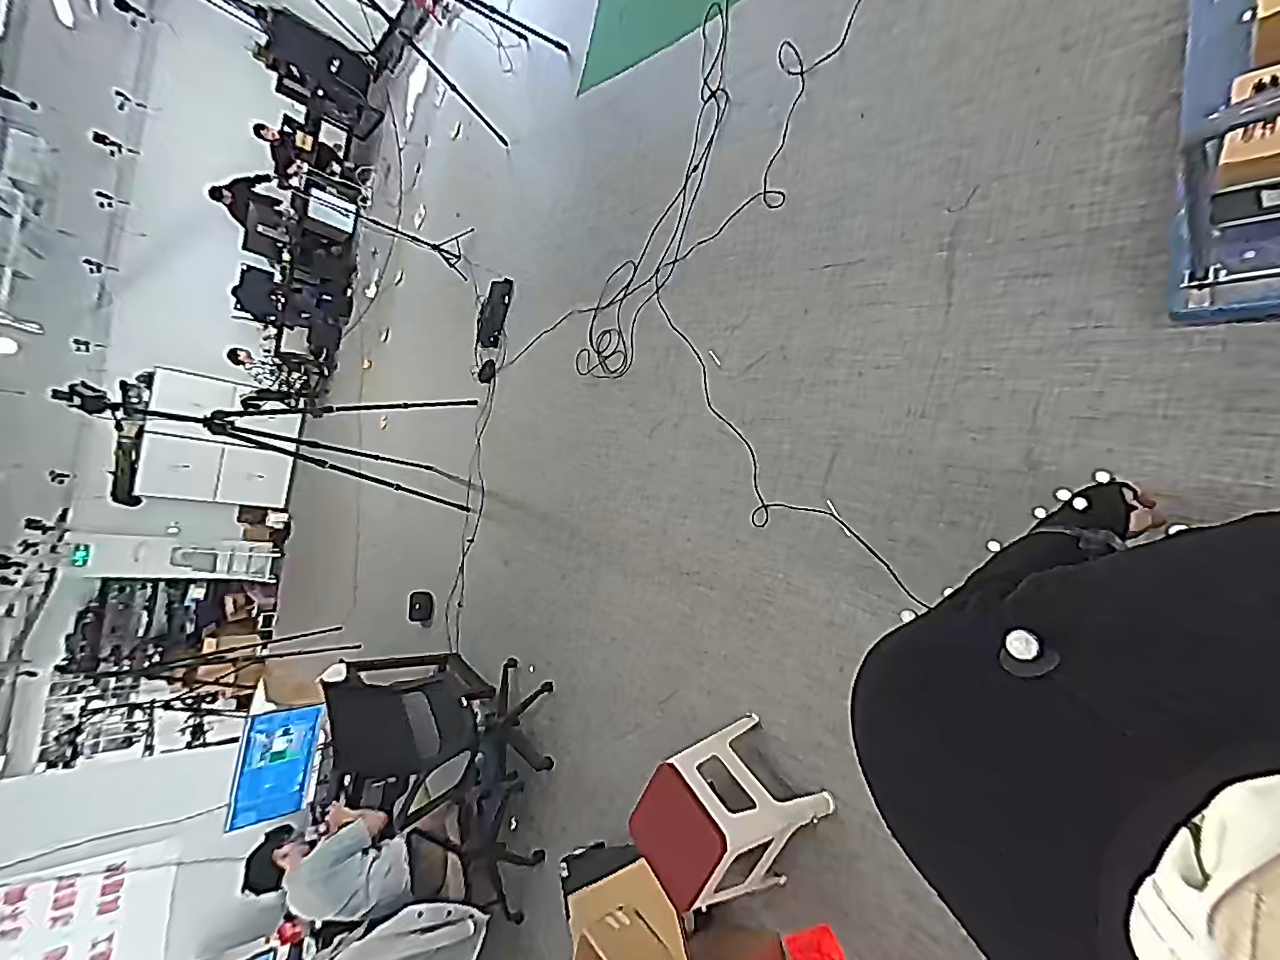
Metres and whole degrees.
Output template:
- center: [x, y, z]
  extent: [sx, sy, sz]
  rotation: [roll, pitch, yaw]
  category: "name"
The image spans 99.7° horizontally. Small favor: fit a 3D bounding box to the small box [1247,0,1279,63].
- center: [1.223, -0.905, 0.973]
  extent: [0.168, 0.176, 0.179]
  rotation: [0, 83, 47]
  category: "small box"
